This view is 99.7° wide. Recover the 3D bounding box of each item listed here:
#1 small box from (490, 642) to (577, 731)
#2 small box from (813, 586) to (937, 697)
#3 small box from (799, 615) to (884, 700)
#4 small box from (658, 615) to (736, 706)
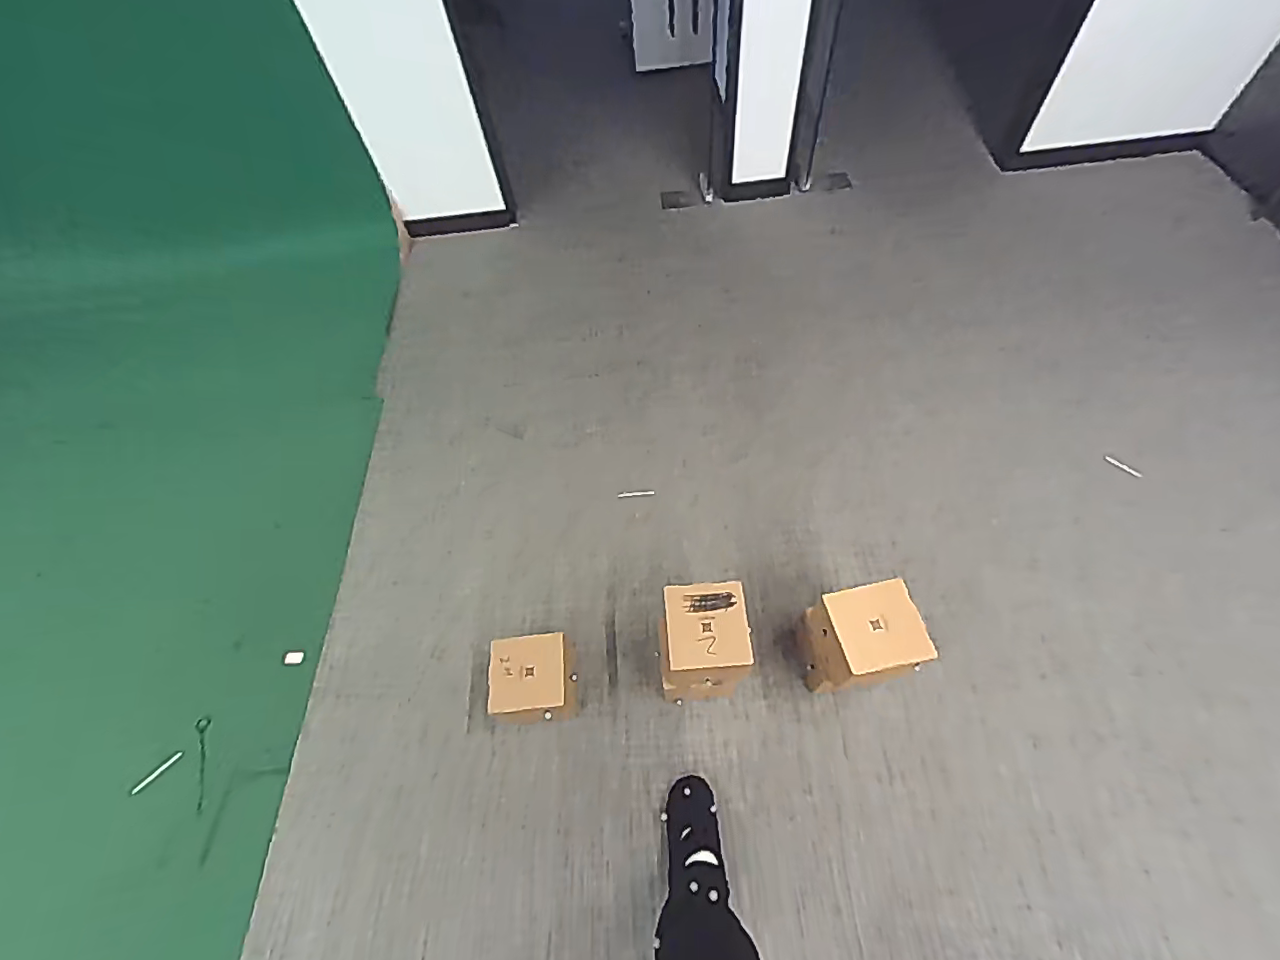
[{"bbox_3d":[-0.248,0.503,1.310,0.179,0.176,0.168,-7,57,1],"label":"small box"},{"bbox_3d":[0.480,0.347,1.143,0.179,0.176,0.168,-12,59,-2],"label":"small box"},{"bbox_3d":[0.489,0.418,1.290,0.179,0.176,0.168,-8,59,0],"label":"small box"},{"bbox_3d":[0.136,0.443,1.309,0.168,0.176,0.179,-6,57,2],"label":"small box"}]
